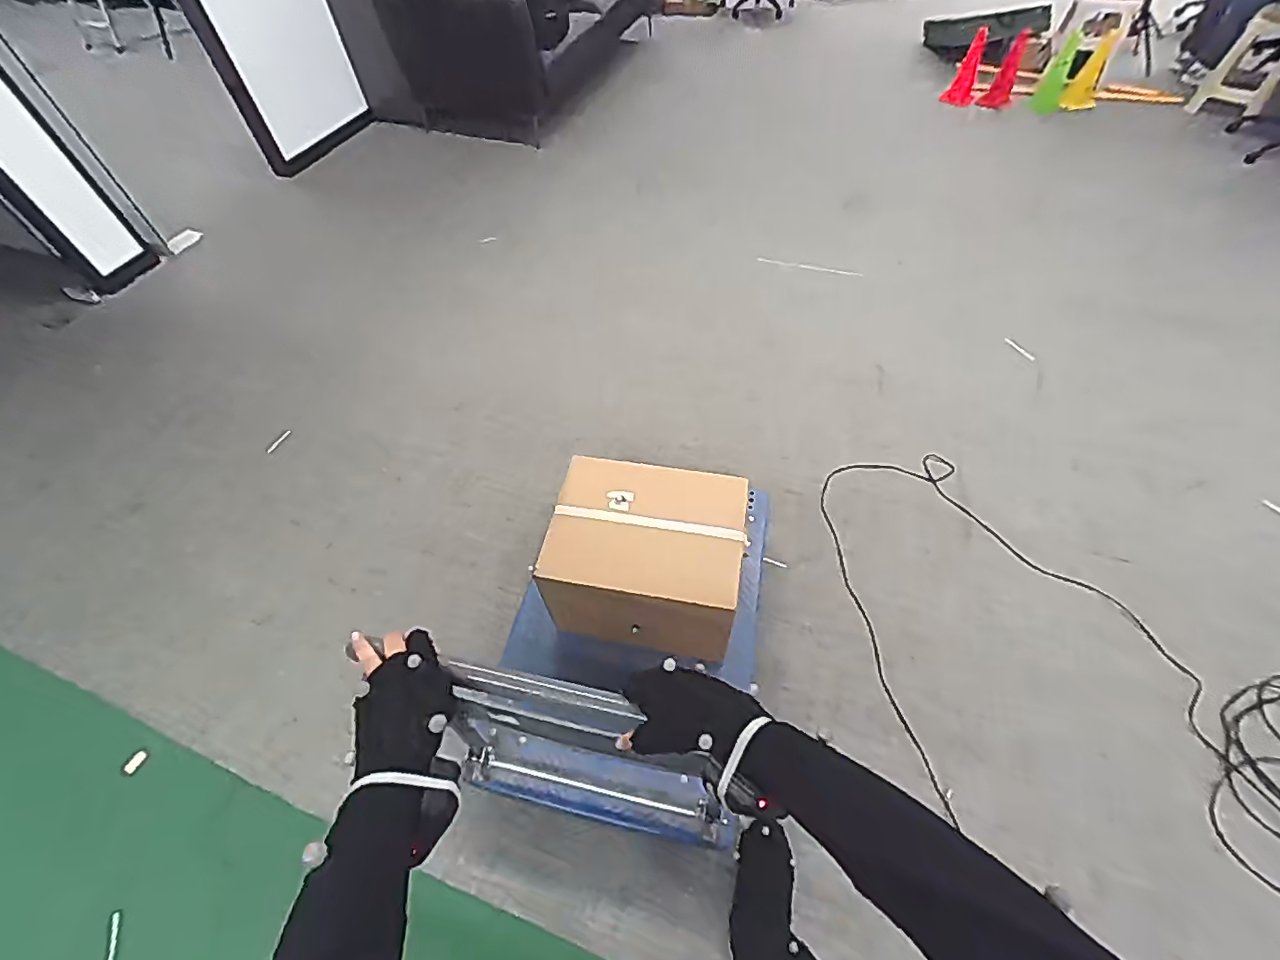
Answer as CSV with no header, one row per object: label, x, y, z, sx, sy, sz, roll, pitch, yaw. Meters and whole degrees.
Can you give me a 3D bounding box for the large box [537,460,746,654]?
large box,0.023,0.183,1.255,0.408,0.320,0.320,7,55,9
